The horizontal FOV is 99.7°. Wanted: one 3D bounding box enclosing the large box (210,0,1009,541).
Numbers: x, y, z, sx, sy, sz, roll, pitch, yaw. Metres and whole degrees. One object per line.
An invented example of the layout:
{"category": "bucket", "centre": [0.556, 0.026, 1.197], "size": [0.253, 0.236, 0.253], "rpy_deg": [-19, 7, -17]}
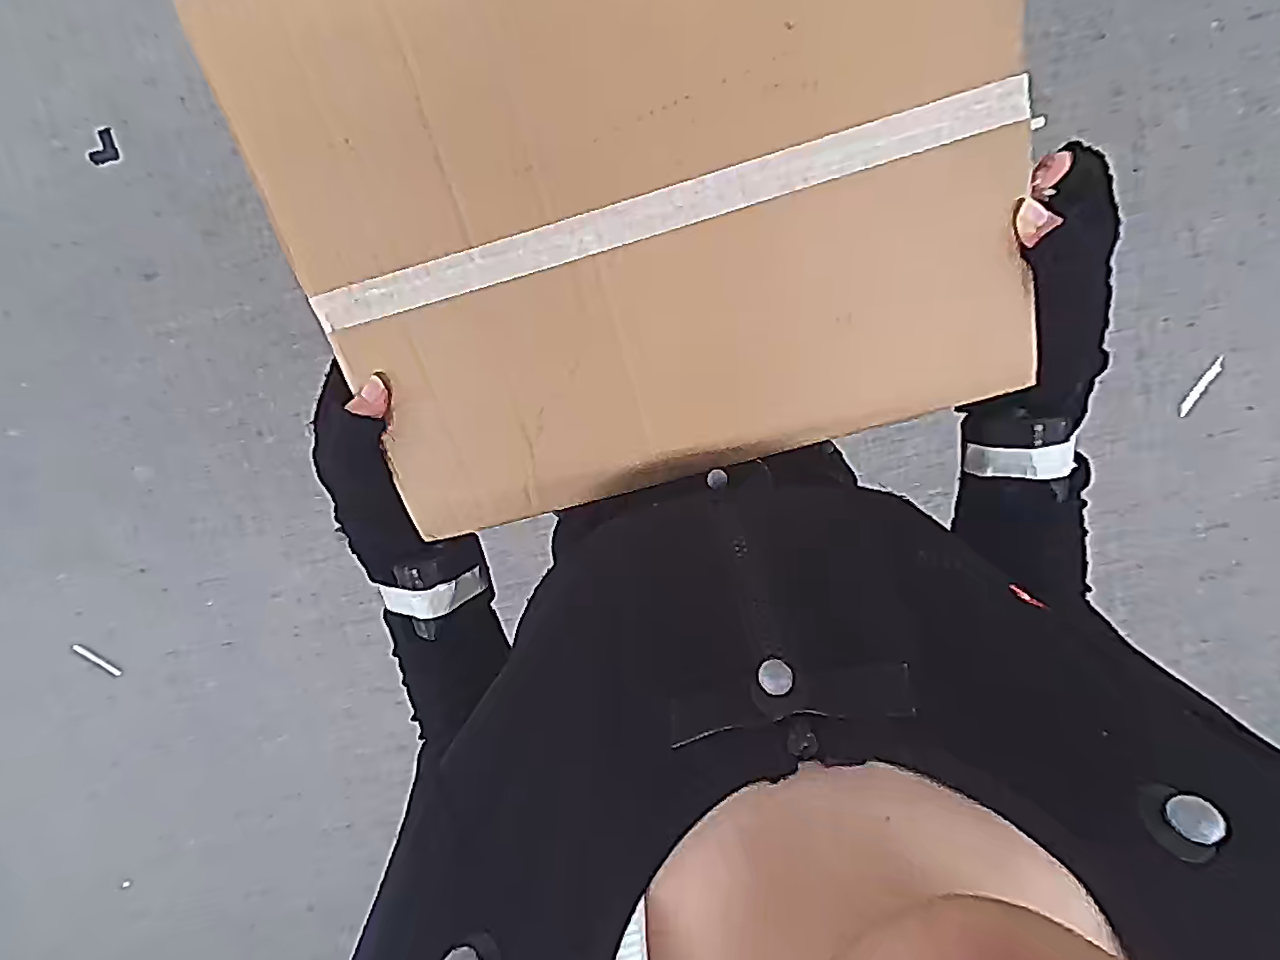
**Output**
{"category": "large box", "centre": [0.006, -0.198, 0.451], "size": [0.408, 0.320, 0.320], "rpy_deg": [-15, 109, 5]}
